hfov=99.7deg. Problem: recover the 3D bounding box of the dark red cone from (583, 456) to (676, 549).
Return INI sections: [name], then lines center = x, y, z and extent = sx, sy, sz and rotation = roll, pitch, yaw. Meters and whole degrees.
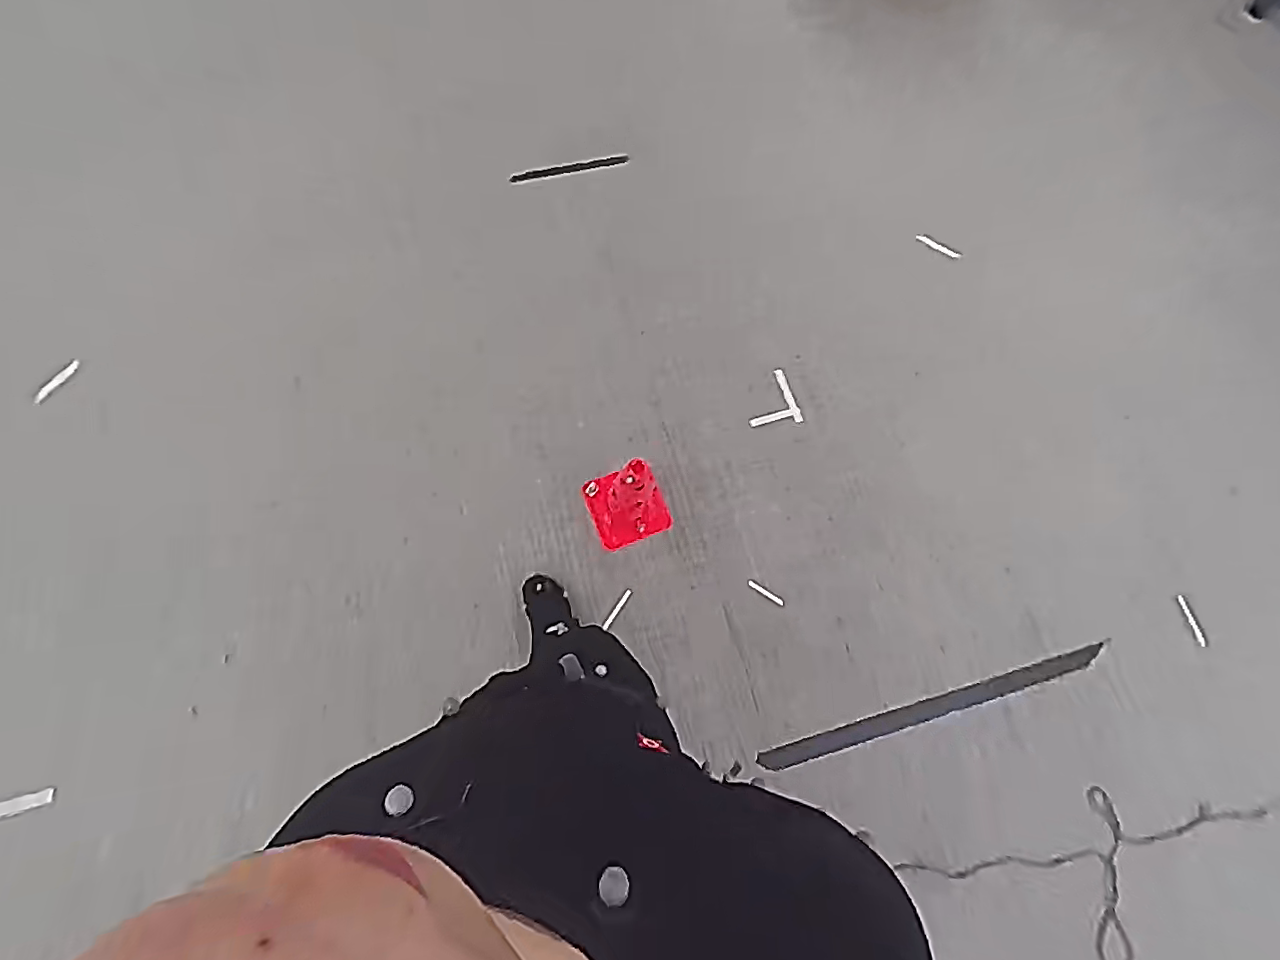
[dark red cone]
center = -0.014, 0.020, 1.250
extent = 0.202, 0.394, 0.201
rotation = -22, 78, -11
